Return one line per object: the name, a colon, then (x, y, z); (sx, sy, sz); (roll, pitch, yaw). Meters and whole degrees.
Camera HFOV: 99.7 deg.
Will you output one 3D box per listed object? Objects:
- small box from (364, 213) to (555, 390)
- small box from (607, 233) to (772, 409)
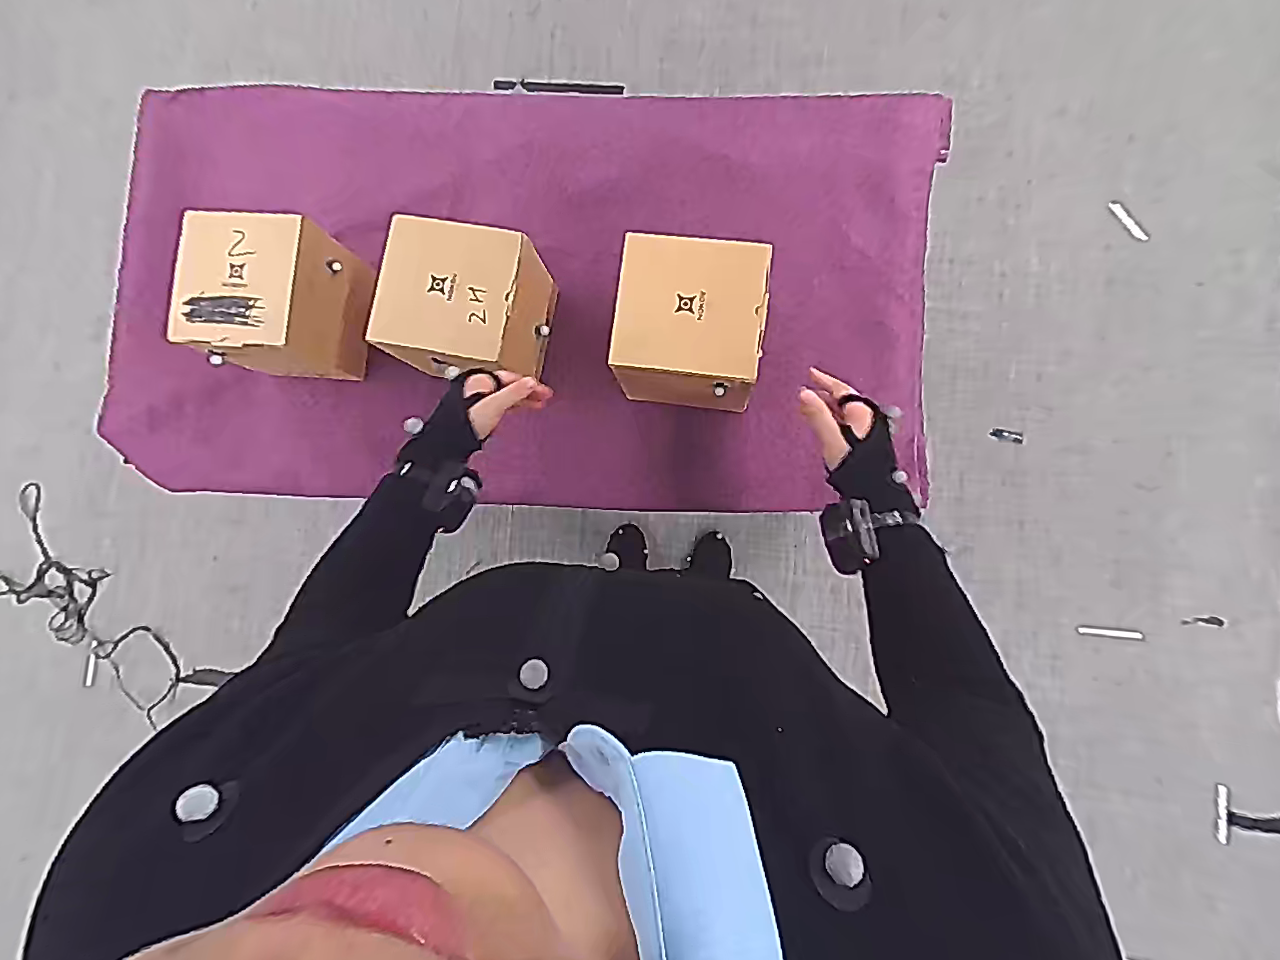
small box: (-0.232, -0.231, 0.737); (0.179, 0.176, 0.168); (11, 87, 5)
small box: (0.064, -0.197, 0.710); (0.179, 0.176, 0.168); (7, 85, 5)
